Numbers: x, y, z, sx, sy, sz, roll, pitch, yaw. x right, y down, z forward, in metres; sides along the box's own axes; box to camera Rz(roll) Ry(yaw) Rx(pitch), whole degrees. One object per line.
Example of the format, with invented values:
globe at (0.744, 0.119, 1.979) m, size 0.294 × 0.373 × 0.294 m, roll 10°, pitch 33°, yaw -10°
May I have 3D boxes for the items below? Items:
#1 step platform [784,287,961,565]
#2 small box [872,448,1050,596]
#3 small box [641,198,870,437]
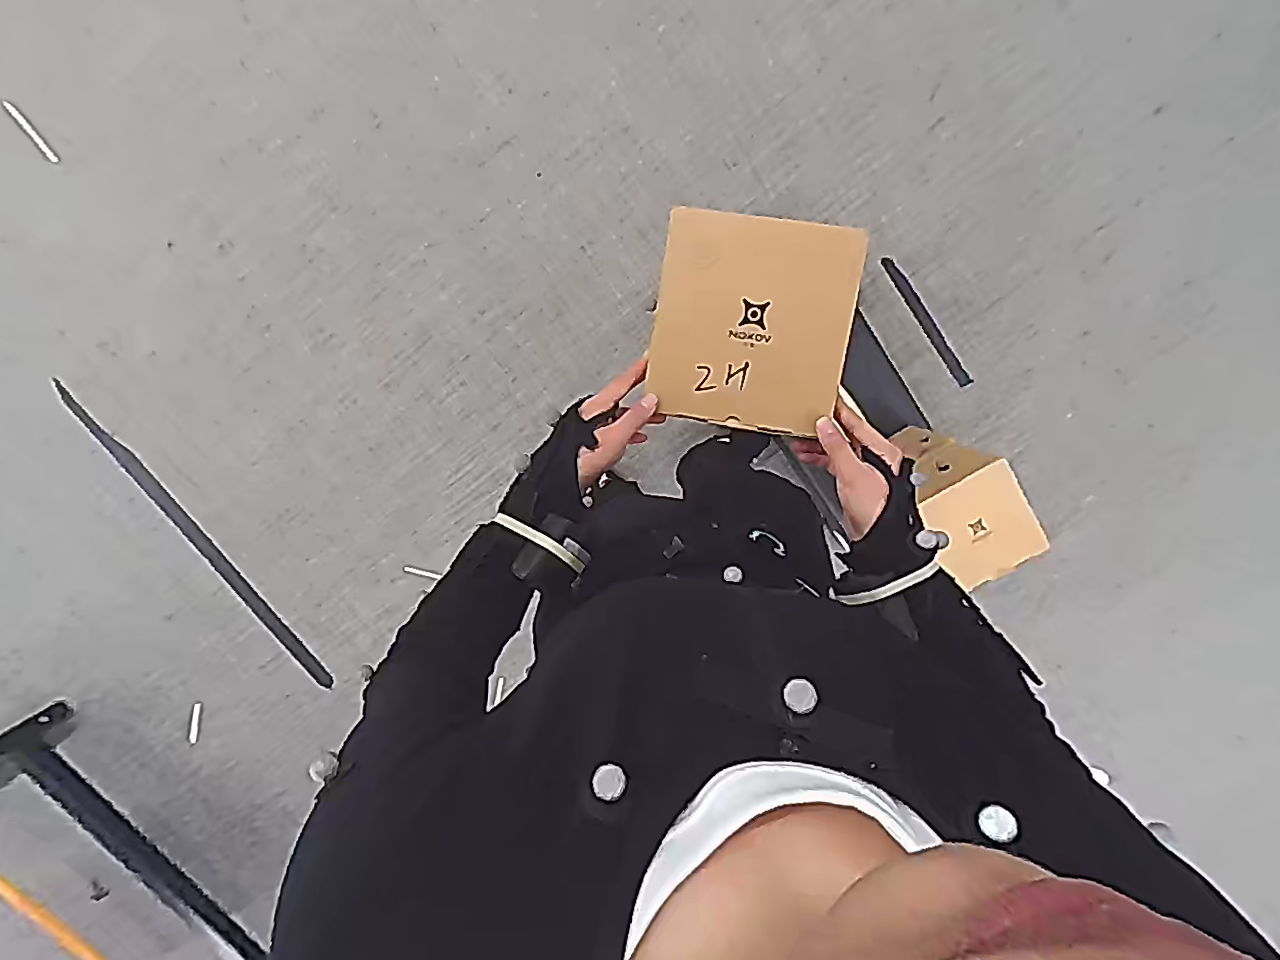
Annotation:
step platform at (0.470, -0.144, 1.220) m, size 0.286 × 0.204 × 0.684 m, roll -35°, pitch 98°, yaw 8°
small box at (0.529, 0.059, 0.917) m, size 0.168 × 0.176 × 0.179 m, roll -32°, pitch 100°, yaw 8°
small box at (0.100, -0.145, 0.531) m, size 0.168 × 0.176 × 0.179 m, roll 10°, pitch 99°, yaw 4°
